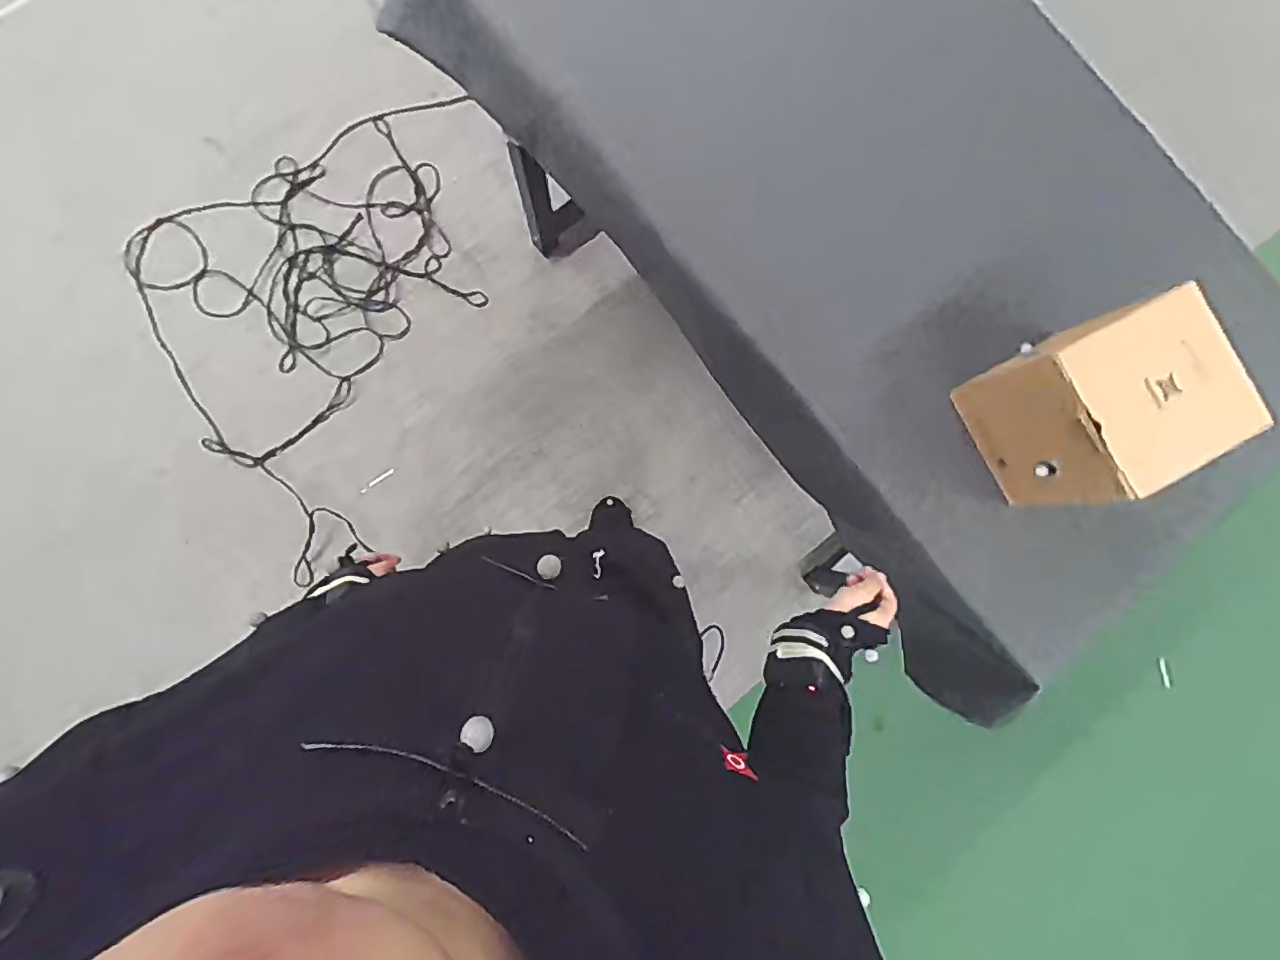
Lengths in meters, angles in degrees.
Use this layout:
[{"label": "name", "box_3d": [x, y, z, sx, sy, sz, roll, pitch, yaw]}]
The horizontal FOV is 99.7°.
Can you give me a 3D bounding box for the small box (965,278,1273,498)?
[{"label": "small box", "box_3d": [0.511, -0.088, 0.611, 0.179, 0.176, 0.168, -28, 89, -6]}]
